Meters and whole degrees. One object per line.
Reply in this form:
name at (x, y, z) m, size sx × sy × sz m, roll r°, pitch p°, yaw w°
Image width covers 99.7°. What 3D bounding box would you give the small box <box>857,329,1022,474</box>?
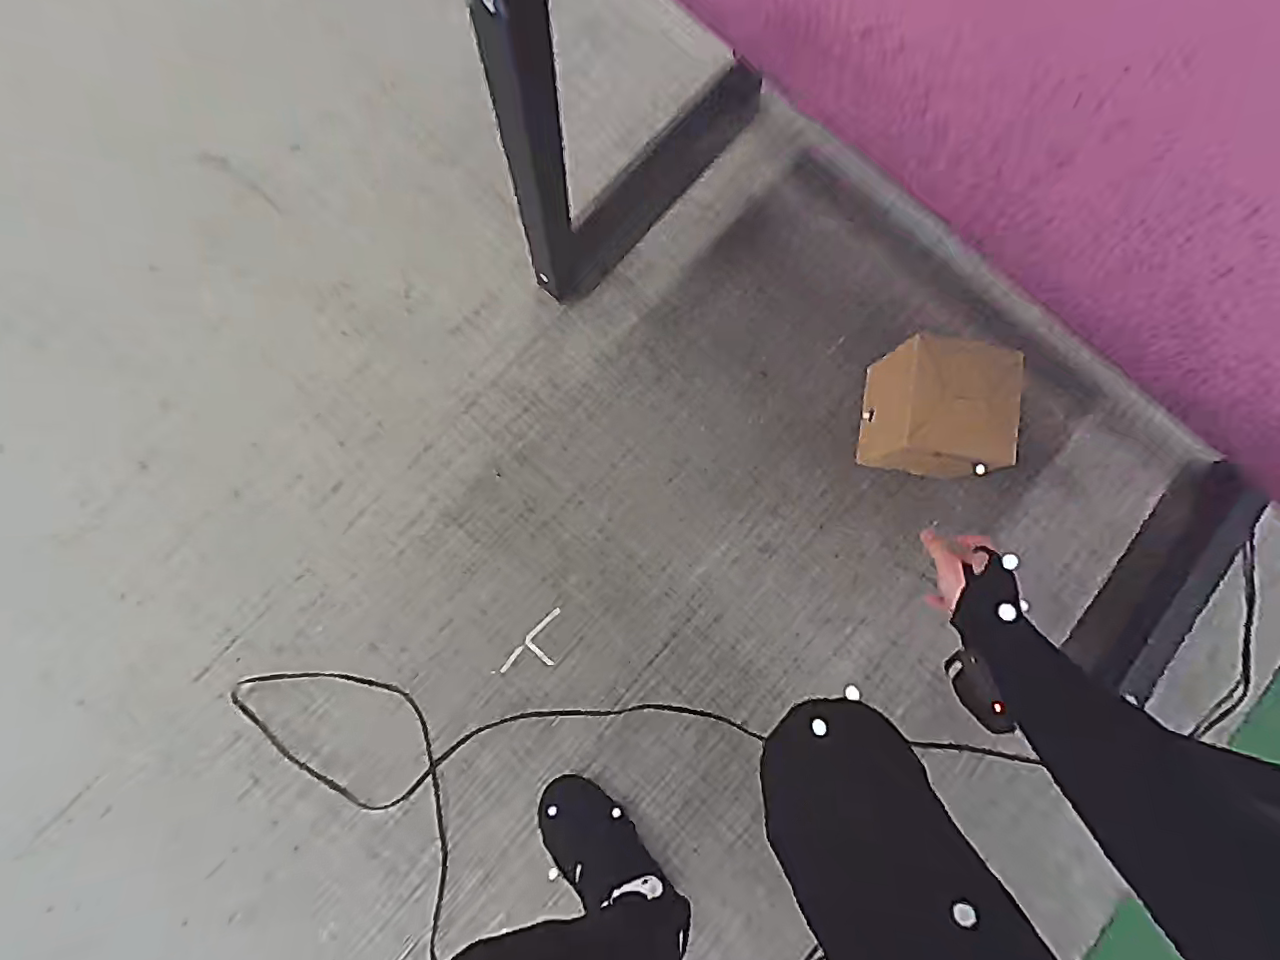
small box at (0.469, -0.117, 0.863) m, size 0.168 × 0.176 × 0.179 m, roll 10°, pitch 83°, yaw -2°
